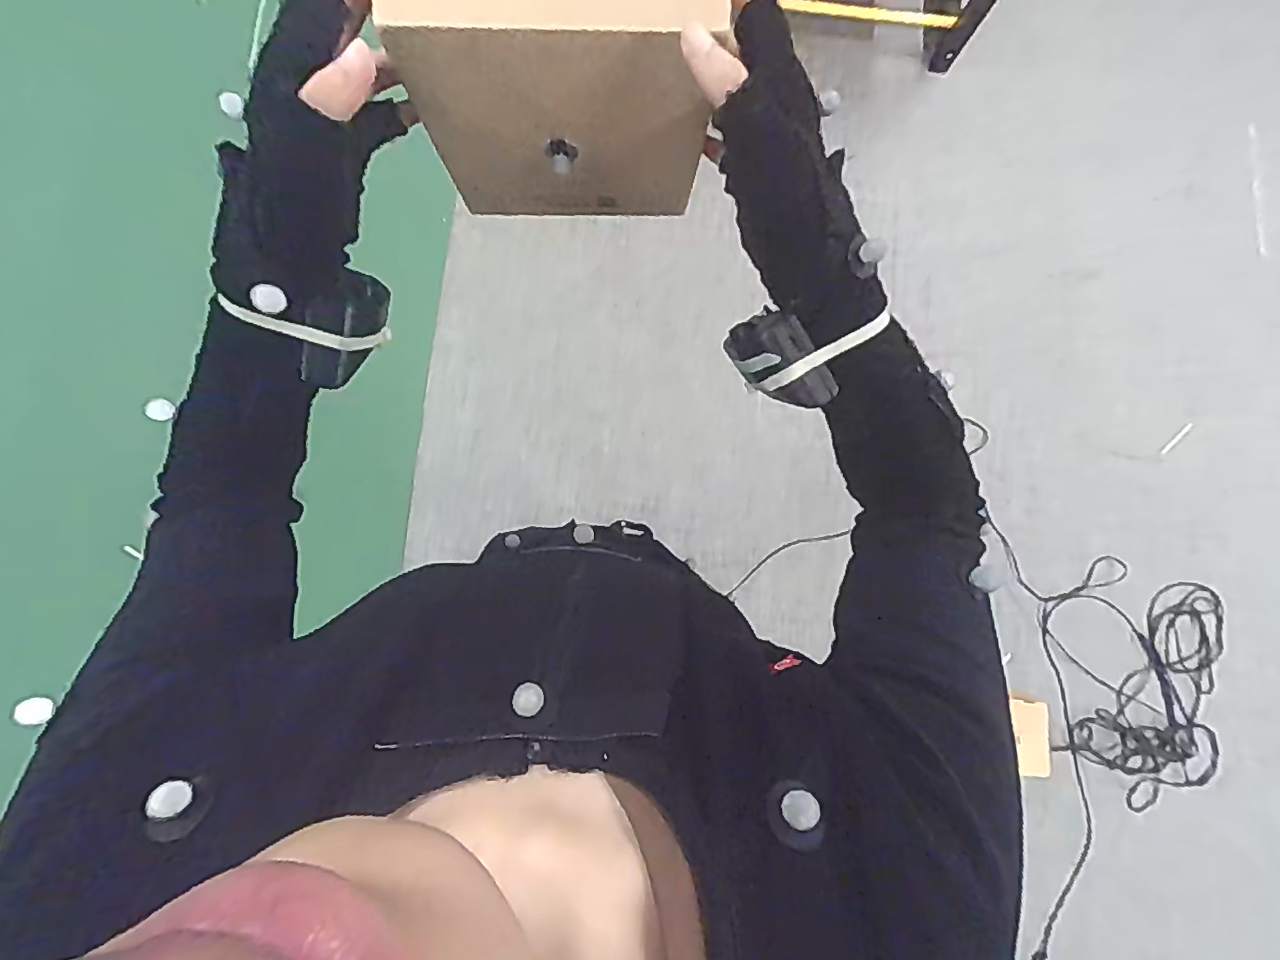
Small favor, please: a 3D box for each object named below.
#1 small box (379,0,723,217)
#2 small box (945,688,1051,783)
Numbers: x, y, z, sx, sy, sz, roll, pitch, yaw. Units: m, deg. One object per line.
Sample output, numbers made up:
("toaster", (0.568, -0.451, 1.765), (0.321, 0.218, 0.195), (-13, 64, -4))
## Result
("small box", (-0.044, -0.287, 0.337), (0.168, 0.176, 0.179), (-1, 87, -3))
("small box", (0.915, 0.652, 1.394), (0.168, 0.176, 0.179), (4, 81, -3))
